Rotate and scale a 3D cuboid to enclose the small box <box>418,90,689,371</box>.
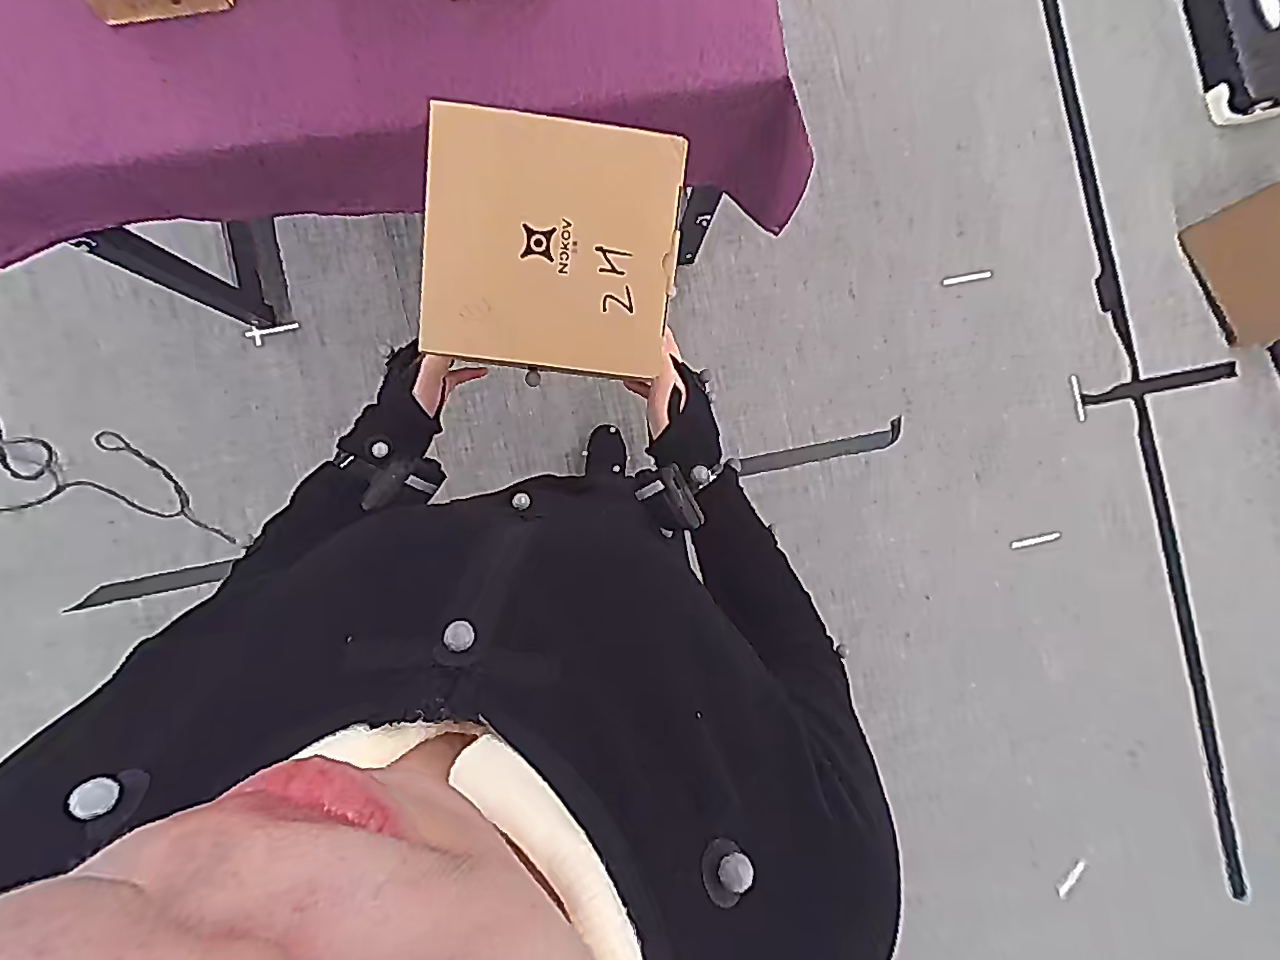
[{"bbox_3d":[-0.065,-0.184,0.454,0.179,0.176,0.168,6,100,-4],"label":"small box"}]

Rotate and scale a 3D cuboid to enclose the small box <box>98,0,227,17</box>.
[{"bbox_3d":[-0.641,-0.714,0.645,0.168,0.176,0.179,-12,92,-5],"label":"small box"}]
